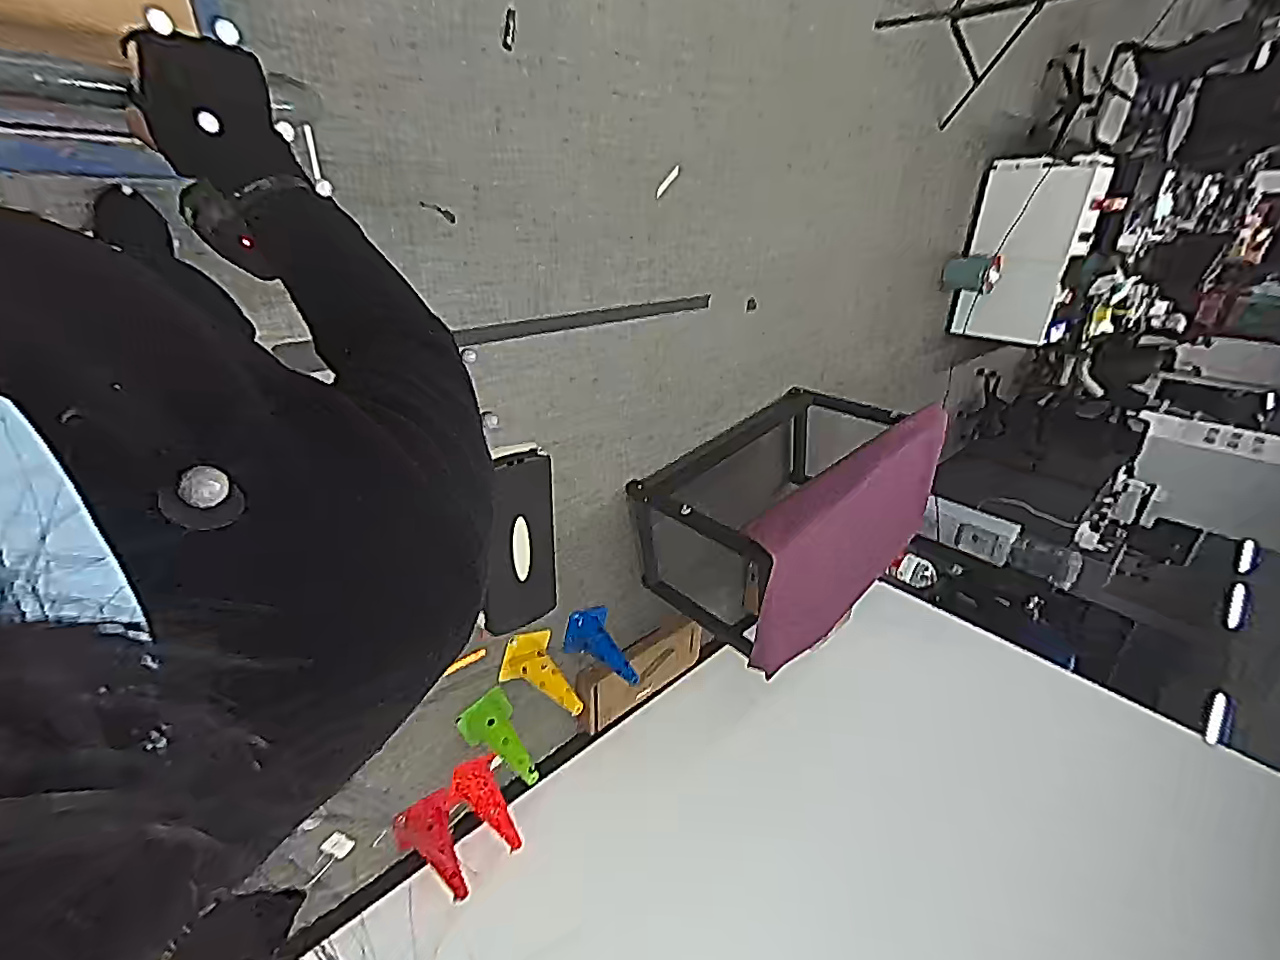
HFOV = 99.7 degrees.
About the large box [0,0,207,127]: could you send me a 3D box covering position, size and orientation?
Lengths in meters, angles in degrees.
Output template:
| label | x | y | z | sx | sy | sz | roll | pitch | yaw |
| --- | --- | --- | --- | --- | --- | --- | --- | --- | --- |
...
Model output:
| label | x | y | z | sx | sy | sz | roll | pitch | yaw |
| --- | --- | --- | --- | --- | --- | --- | --- | --- | --- |
| large box | -0.815 | -0.629 | 0.627 | 0.408 | 0.320 | 0.320 | -20 | 123 | -38 |
